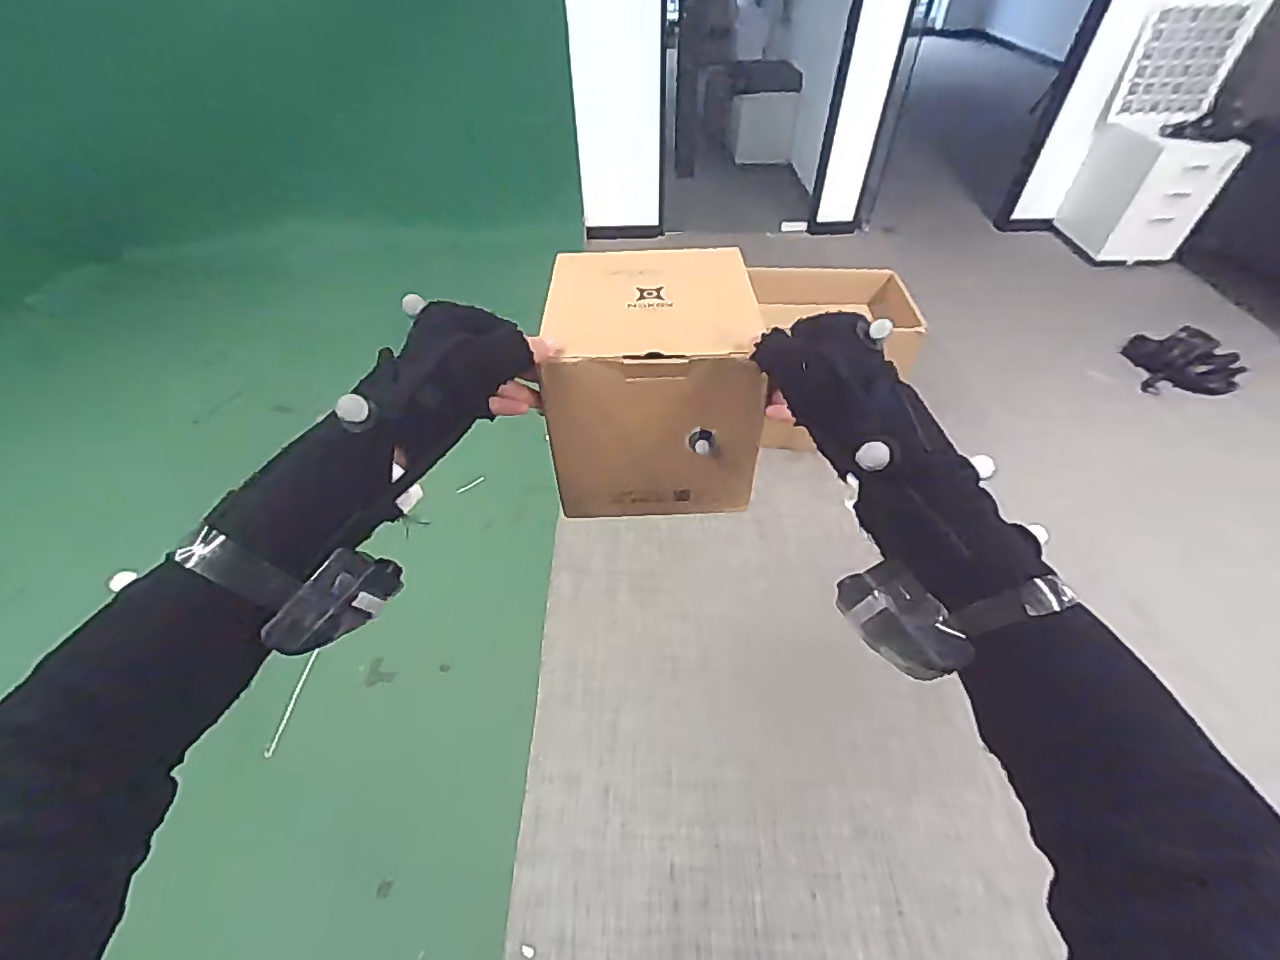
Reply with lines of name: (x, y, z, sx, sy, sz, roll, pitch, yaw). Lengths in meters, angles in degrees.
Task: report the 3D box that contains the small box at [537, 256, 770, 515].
small box: (0.011, -0.081, 0.485, 0.168, 0.176, 0.179, -2, 44, 0)
